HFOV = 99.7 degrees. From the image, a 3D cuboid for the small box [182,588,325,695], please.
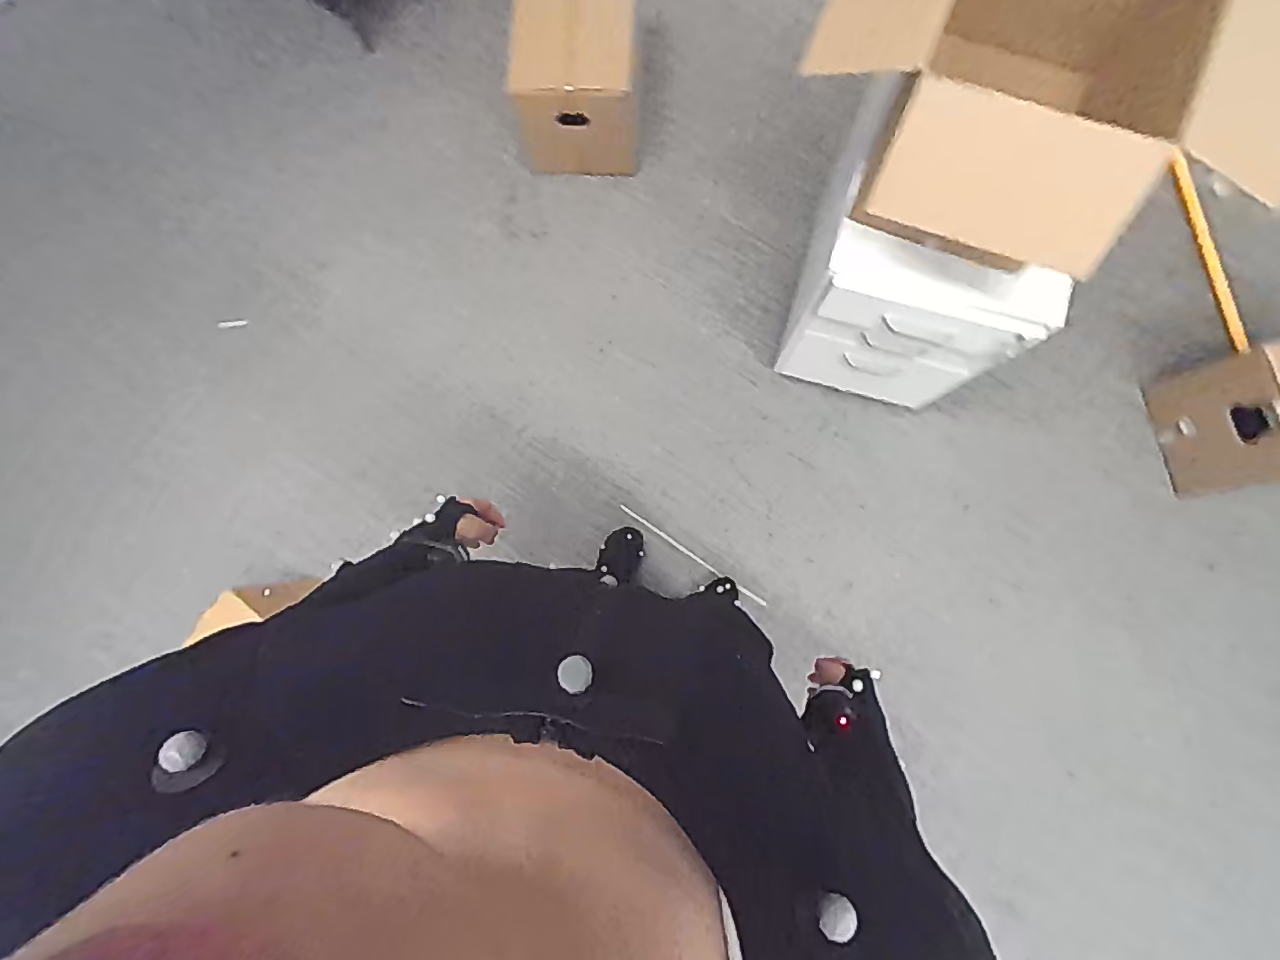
[{"bbox_3d":[-0.905,0.372,1.281,0.179,0.176,0.168,36,87,7],"label":"small box"}]
